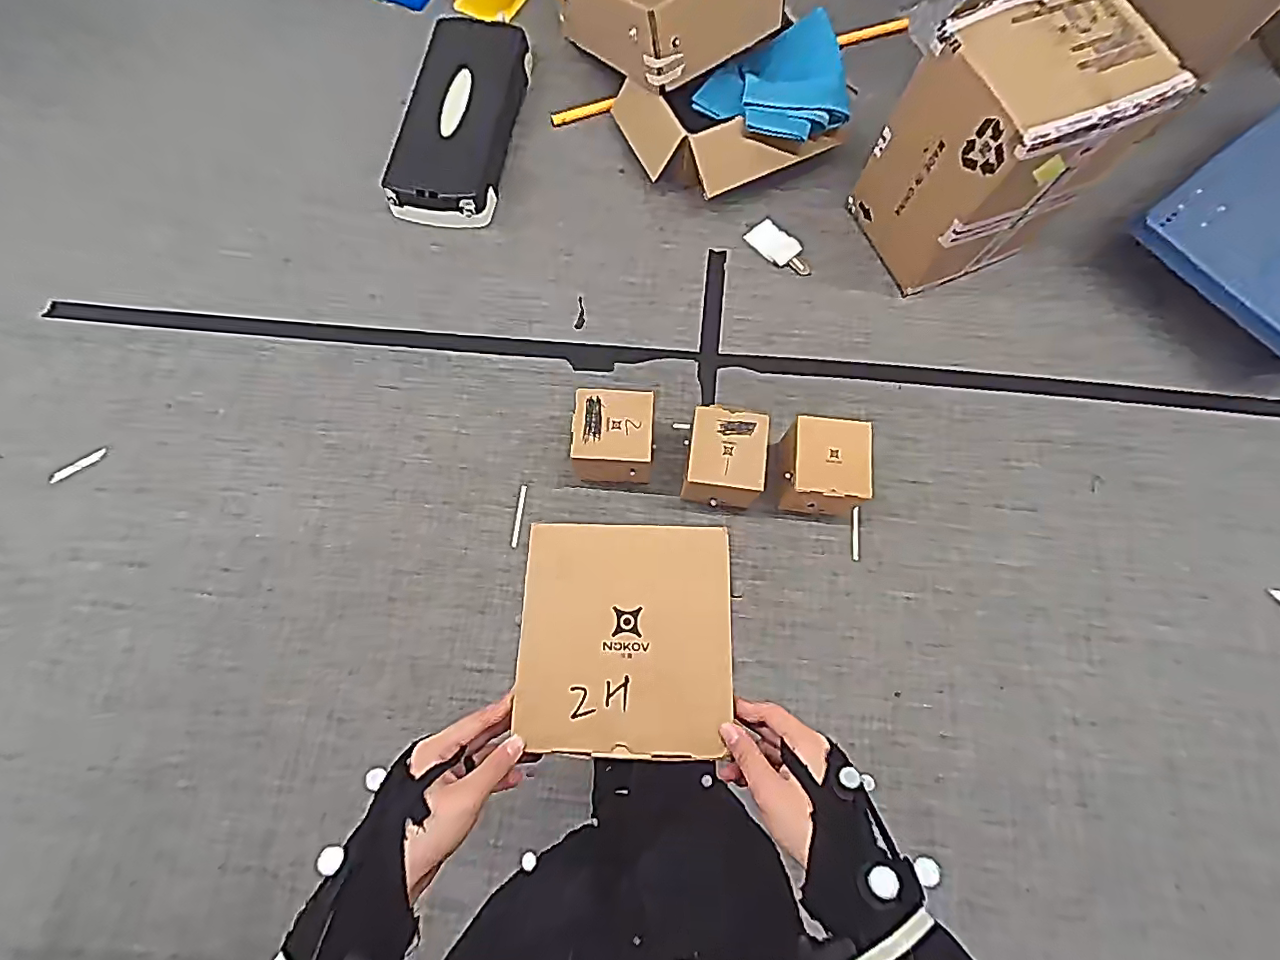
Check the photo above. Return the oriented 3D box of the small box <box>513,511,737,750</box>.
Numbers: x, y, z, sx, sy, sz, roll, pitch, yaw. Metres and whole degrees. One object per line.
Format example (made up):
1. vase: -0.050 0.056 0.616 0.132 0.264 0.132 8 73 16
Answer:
1. small box: -0.007 0.137 0.492 0.168 0.176 0.179 1 71 2

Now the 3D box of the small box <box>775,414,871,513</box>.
1. small box: 0.413 -0.033 1.242 0.168 0.176 0.179 6 74 0

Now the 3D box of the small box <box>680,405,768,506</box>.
1. small box: 0.187 -0.050 1.239 0.168 0.176 0.179 8 75 1
